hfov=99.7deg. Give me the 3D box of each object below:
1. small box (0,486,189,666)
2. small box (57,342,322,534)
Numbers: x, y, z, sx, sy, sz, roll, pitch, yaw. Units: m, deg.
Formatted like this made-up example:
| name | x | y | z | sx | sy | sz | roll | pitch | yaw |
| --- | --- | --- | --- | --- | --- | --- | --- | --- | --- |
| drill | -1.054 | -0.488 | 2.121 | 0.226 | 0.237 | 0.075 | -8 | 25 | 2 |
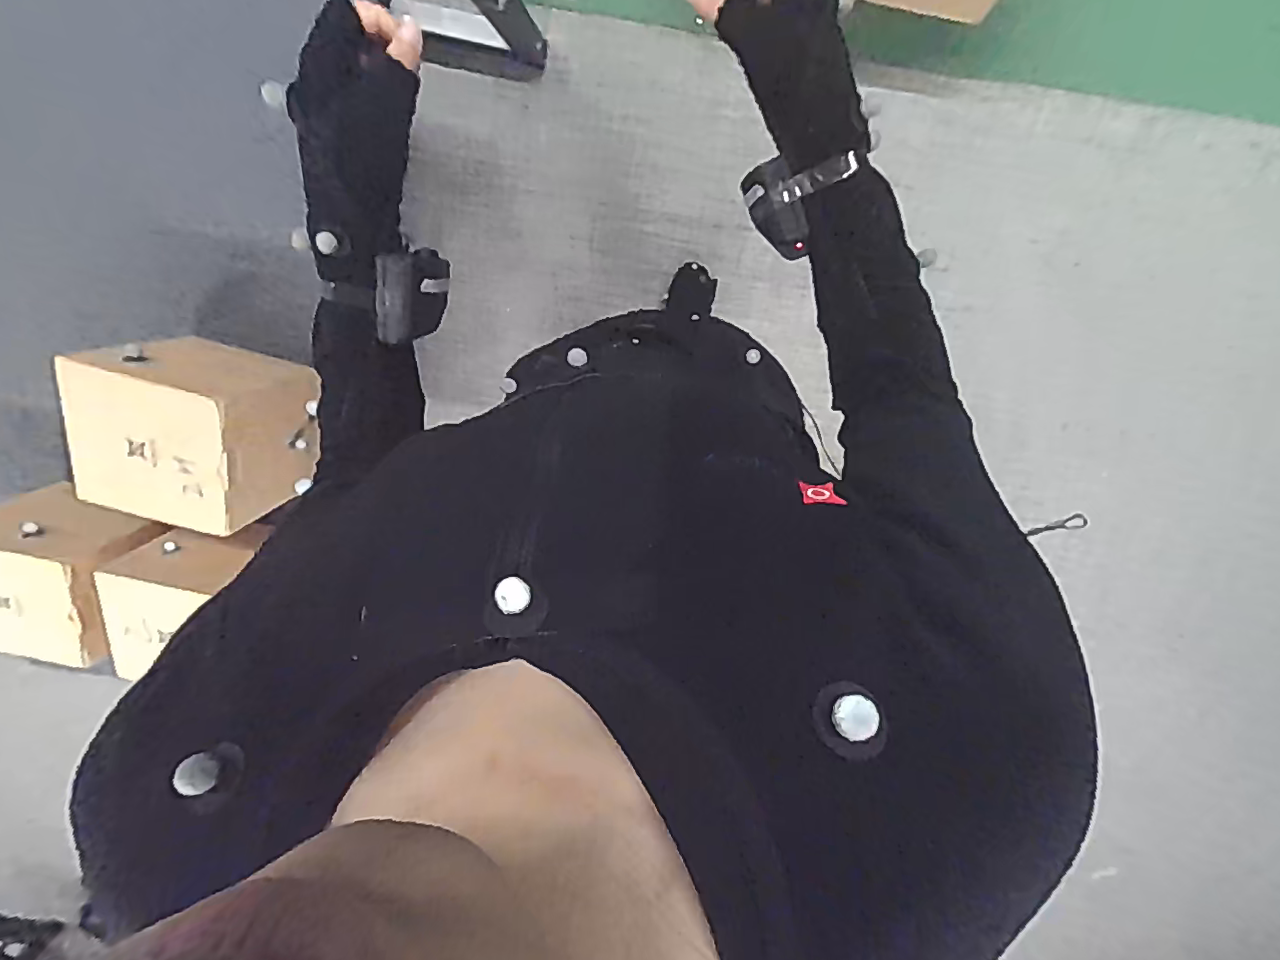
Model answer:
| name | x | y | z | sx | sy | sz | roll | pitch | yaw |
| --- | --- | --- | --- | --- | --- | --- | --- | --- | --- |
| small box | -0.783 | 0.122 | 0.749 | 0.179 | 0.176 | 0.168 | 13 | 113 | -2 |
| small box | -0.523 | -0.061 | 0.654 | 0.179 | 0.176 | 0.168 | 15 | 113 | -2 |
